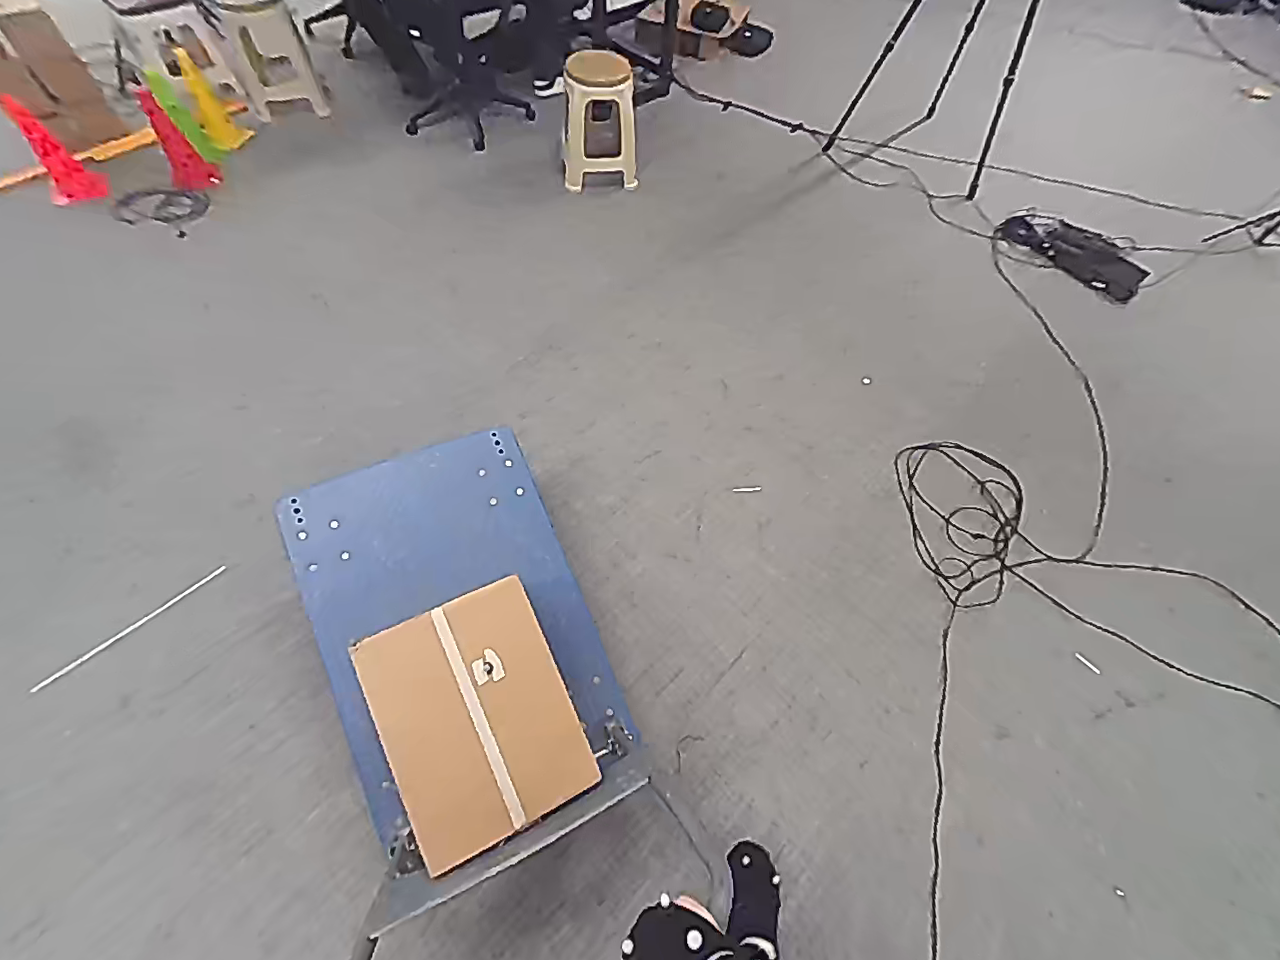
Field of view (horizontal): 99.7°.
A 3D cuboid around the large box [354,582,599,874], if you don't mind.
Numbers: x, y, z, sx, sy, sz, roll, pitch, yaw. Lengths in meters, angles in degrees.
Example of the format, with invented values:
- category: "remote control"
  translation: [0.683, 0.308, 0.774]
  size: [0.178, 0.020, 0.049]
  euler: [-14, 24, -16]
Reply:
- category: "large box"
  translation: [-0.318, 0.468, 1.113]
  size: [0.320, 0.320, 0.408]
  euler: [-23, 80, -18]
